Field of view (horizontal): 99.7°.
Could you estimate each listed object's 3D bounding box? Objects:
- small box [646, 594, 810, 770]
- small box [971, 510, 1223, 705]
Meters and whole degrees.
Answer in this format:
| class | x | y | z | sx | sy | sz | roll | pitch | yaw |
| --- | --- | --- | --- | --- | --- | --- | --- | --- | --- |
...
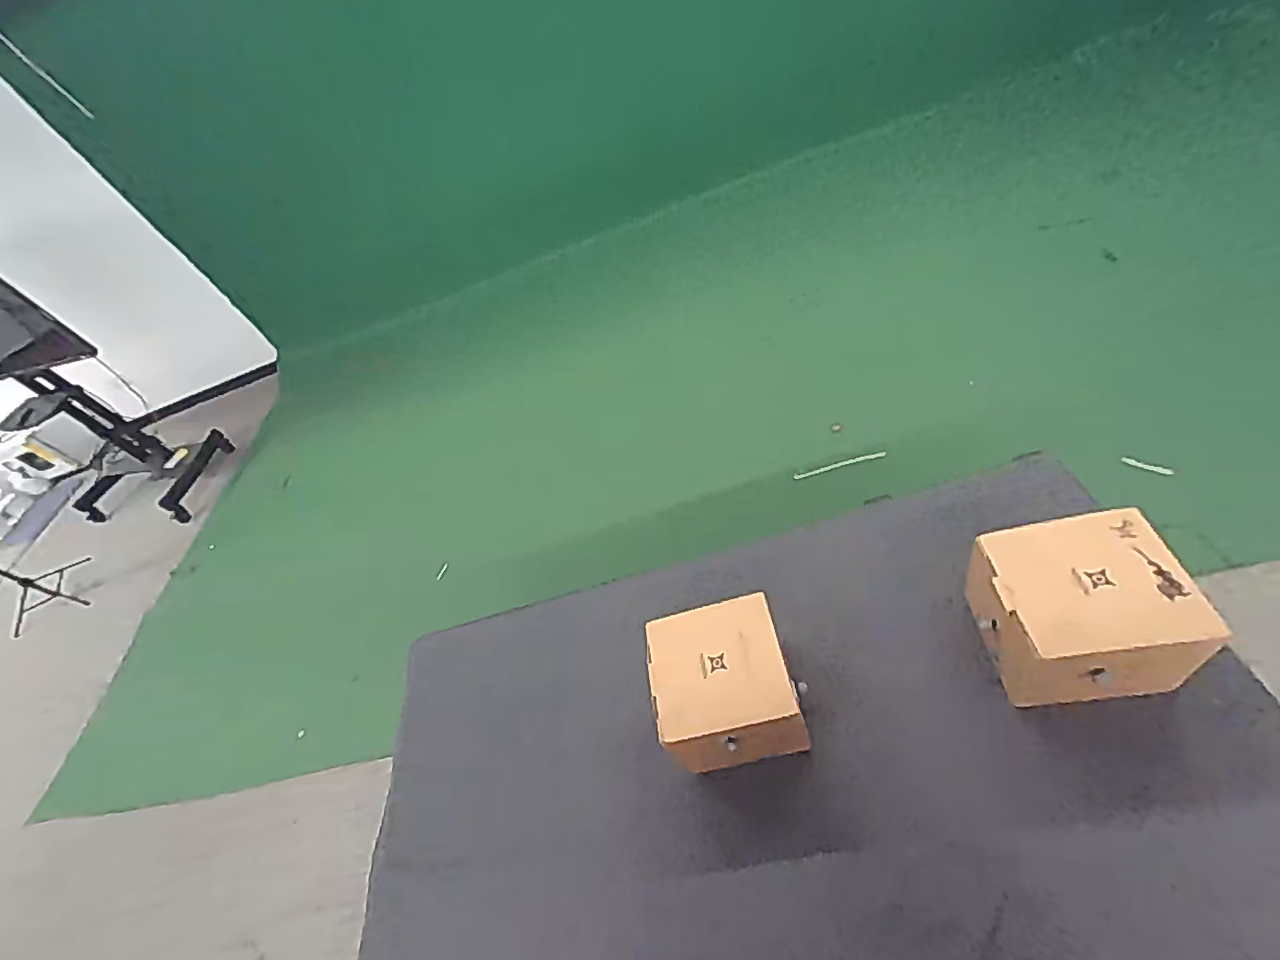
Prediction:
| class | x | y | z | sx | sy | sz | roll | pitch | yaw |
| --- | --- | --- | --- | --- | --- | --- | --- | --- | --- |
| small box | 0.124 | 0.289 | 0.759 | 0.179 | 0.176 | 0.168 | -17 | 48 | 9 |
| small box | 0.533 | 0.165 | 0.669 | 0.179 | 0.176 | 0.168 | -14 | 48 | 15 |
